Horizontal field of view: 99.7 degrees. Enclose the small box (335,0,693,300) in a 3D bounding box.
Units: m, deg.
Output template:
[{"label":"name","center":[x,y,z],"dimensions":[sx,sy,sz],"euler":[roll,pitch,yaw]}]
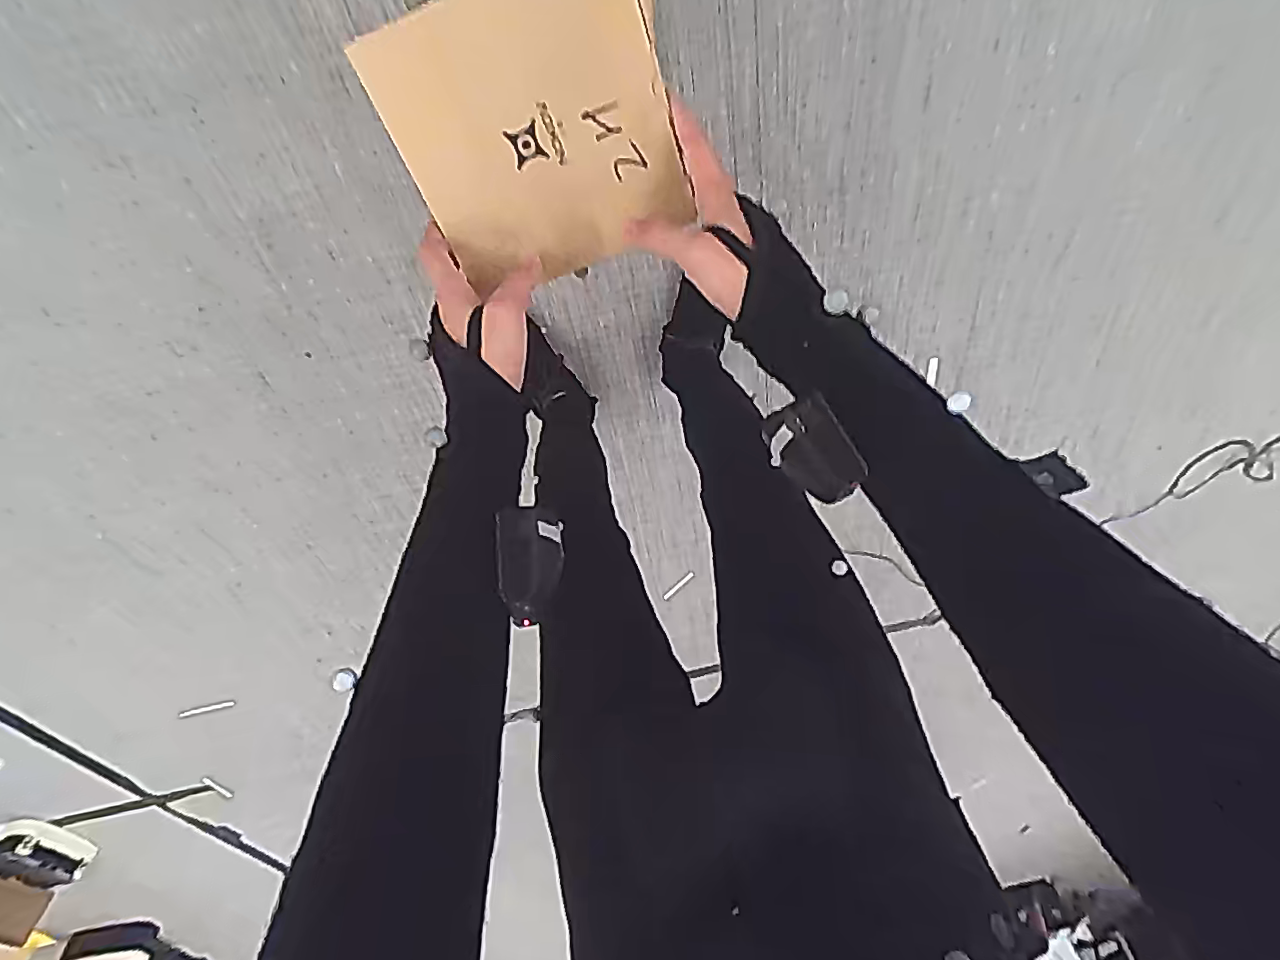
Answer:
[{"label":"small box","center":[-0.075,-0.262,0.406],"dimensions":[0.179,0.176,0.168],"euler":[-19,125,6]}]
